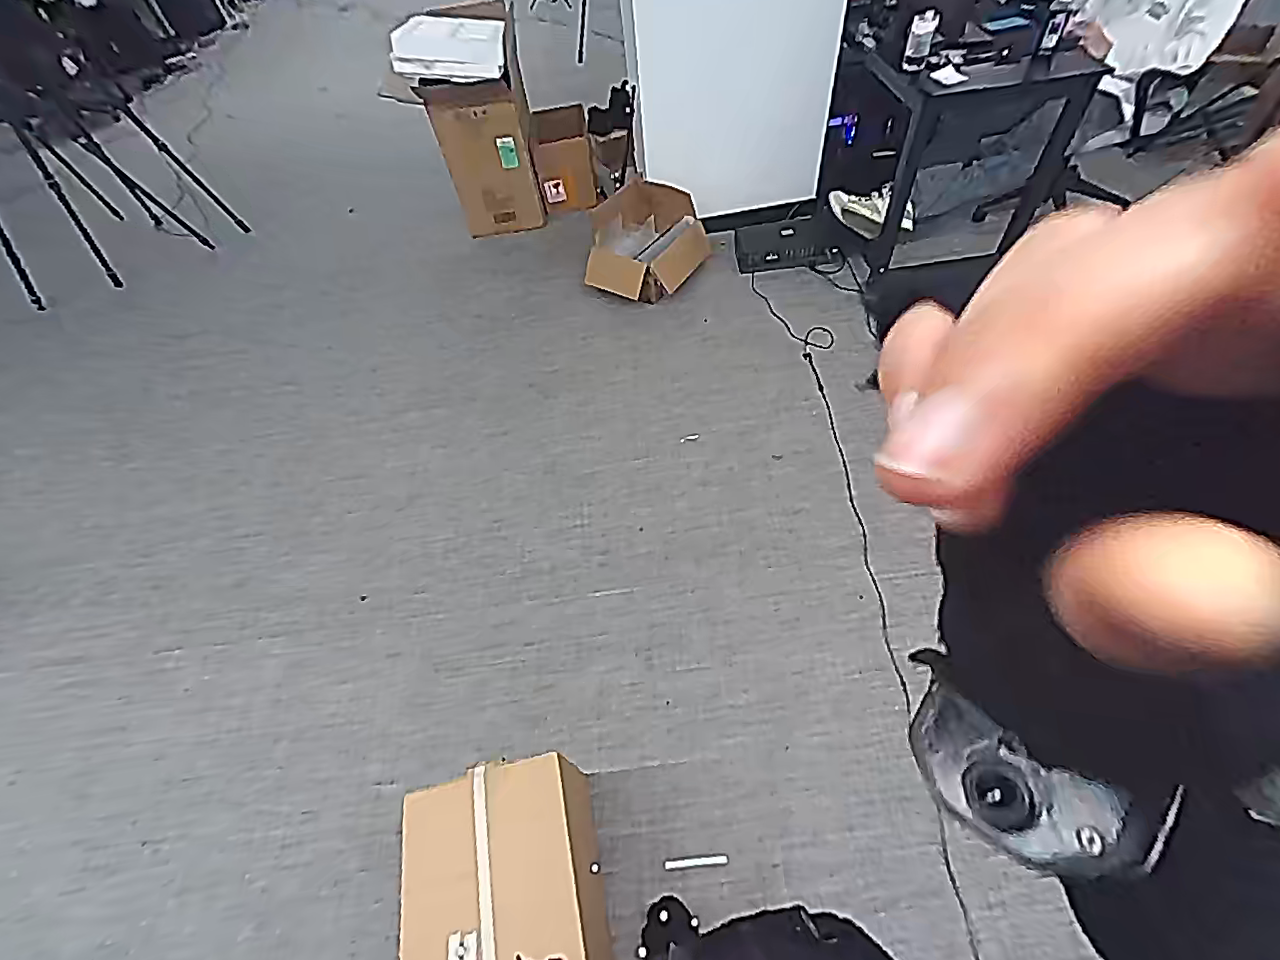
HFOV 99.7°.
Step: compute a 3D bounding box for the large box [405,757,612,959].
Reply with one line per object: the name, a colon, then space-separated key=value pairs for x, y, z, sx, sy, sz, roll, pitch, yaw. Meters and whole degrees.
large box: x=-0.257 y=0.837 z=1.092 sx=0.320 sy=0.320 sz=0.408 roll=-15 pitch=54 yaw=-3
